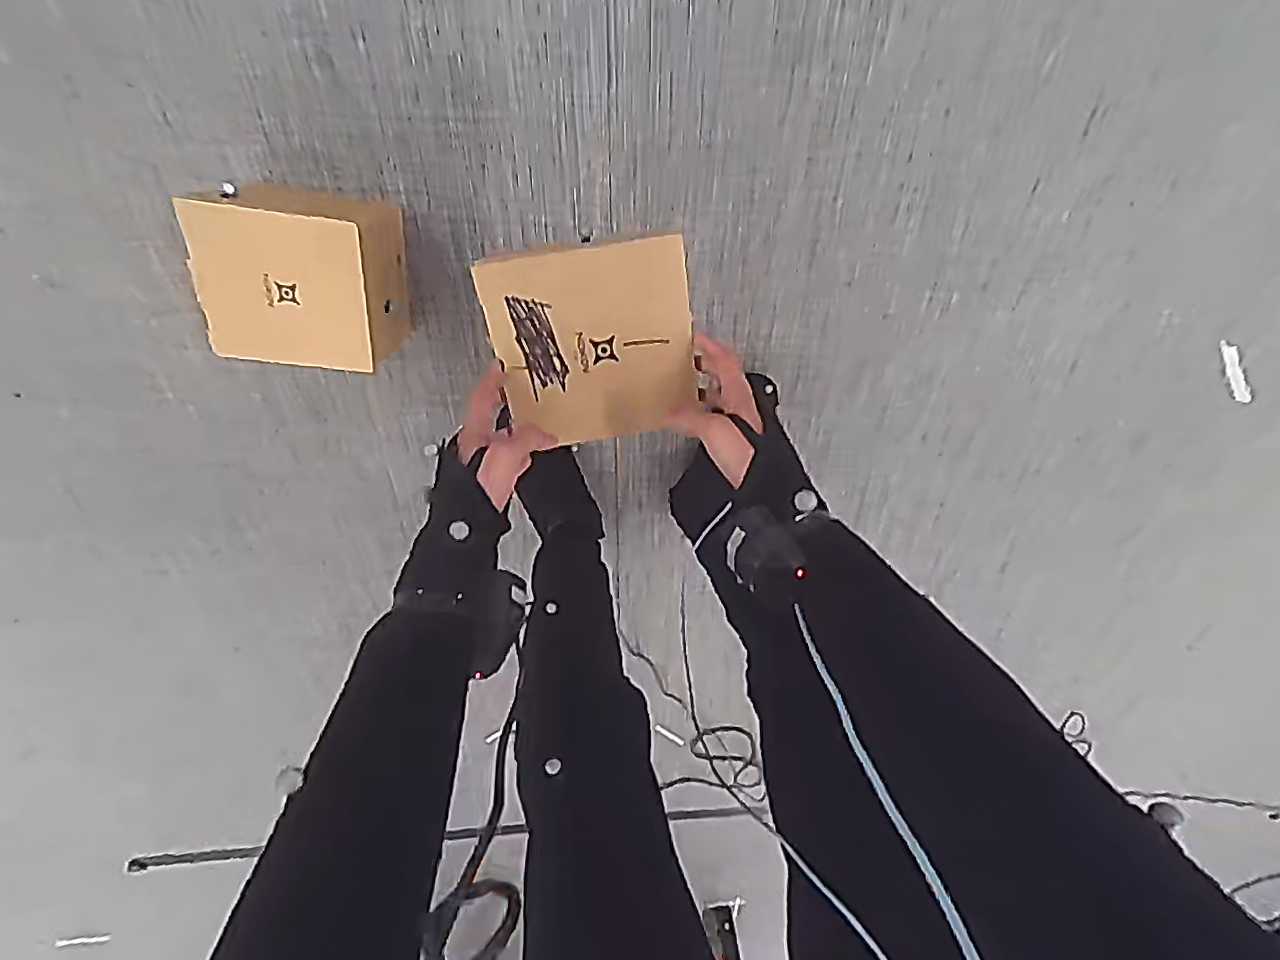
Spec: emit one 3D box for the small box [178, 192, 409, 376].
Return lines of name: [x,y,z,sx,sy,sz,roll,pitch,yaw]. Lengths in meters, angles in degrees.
small box: [-0.391,-0.241,0.655,0.179,0.176,0.168,5,121,-8]

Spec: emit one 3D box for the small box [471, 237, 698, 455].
small box: [-0.047,-0.142,0.539,0.179,0.176,0.168,-9,117,-1]
